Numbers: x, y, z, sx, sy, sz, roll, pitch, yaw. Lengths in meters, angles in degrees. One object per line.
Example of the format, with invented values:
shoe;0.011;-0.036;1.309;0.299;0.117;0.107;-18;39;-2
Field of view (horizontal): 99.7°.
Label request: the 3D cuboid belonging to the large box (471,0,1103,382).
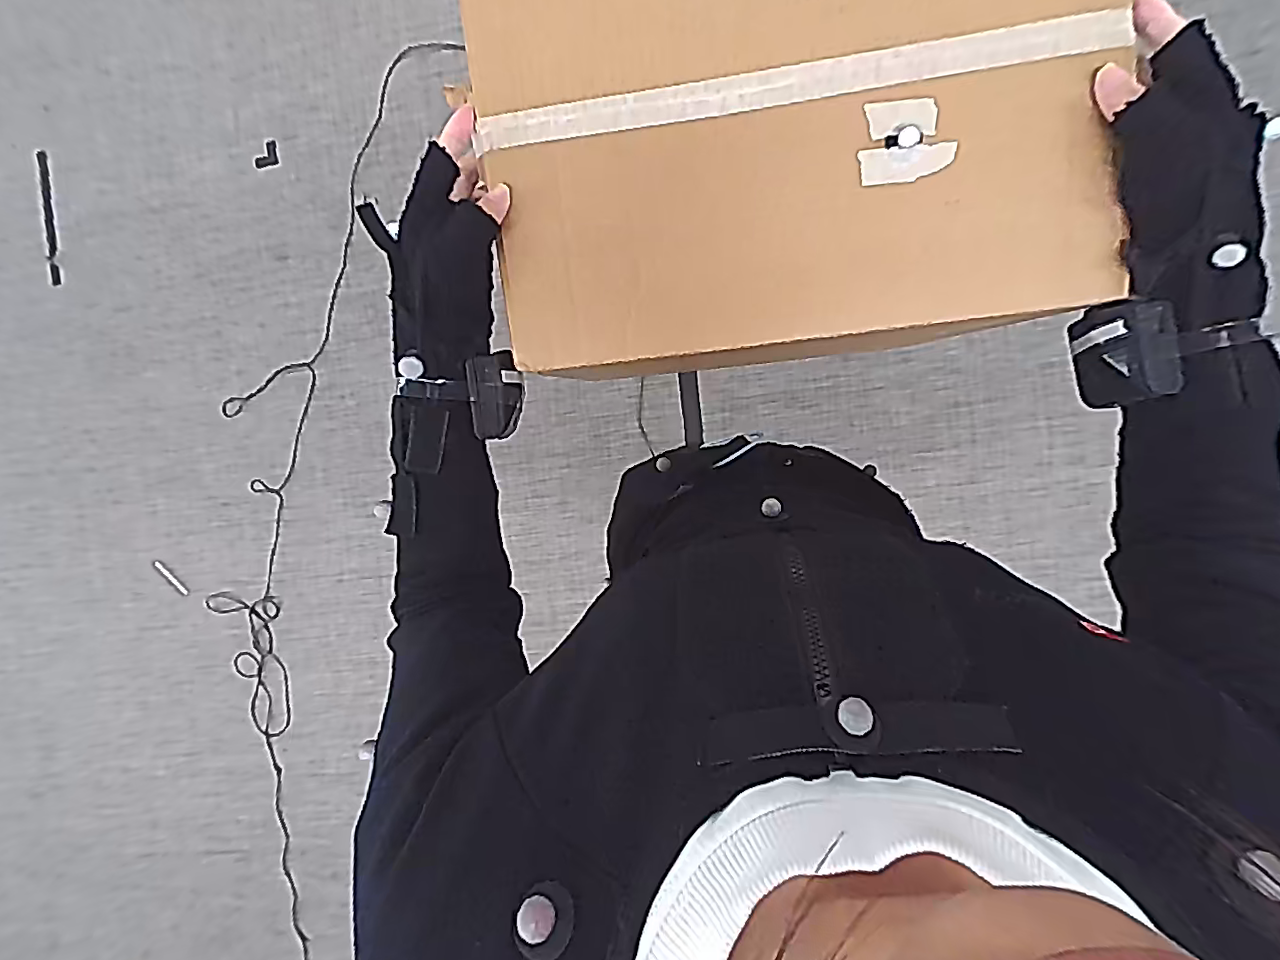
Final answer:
large box;0.101;-0.276;0.505;0.408;0.320;0.320;-6;99;4
